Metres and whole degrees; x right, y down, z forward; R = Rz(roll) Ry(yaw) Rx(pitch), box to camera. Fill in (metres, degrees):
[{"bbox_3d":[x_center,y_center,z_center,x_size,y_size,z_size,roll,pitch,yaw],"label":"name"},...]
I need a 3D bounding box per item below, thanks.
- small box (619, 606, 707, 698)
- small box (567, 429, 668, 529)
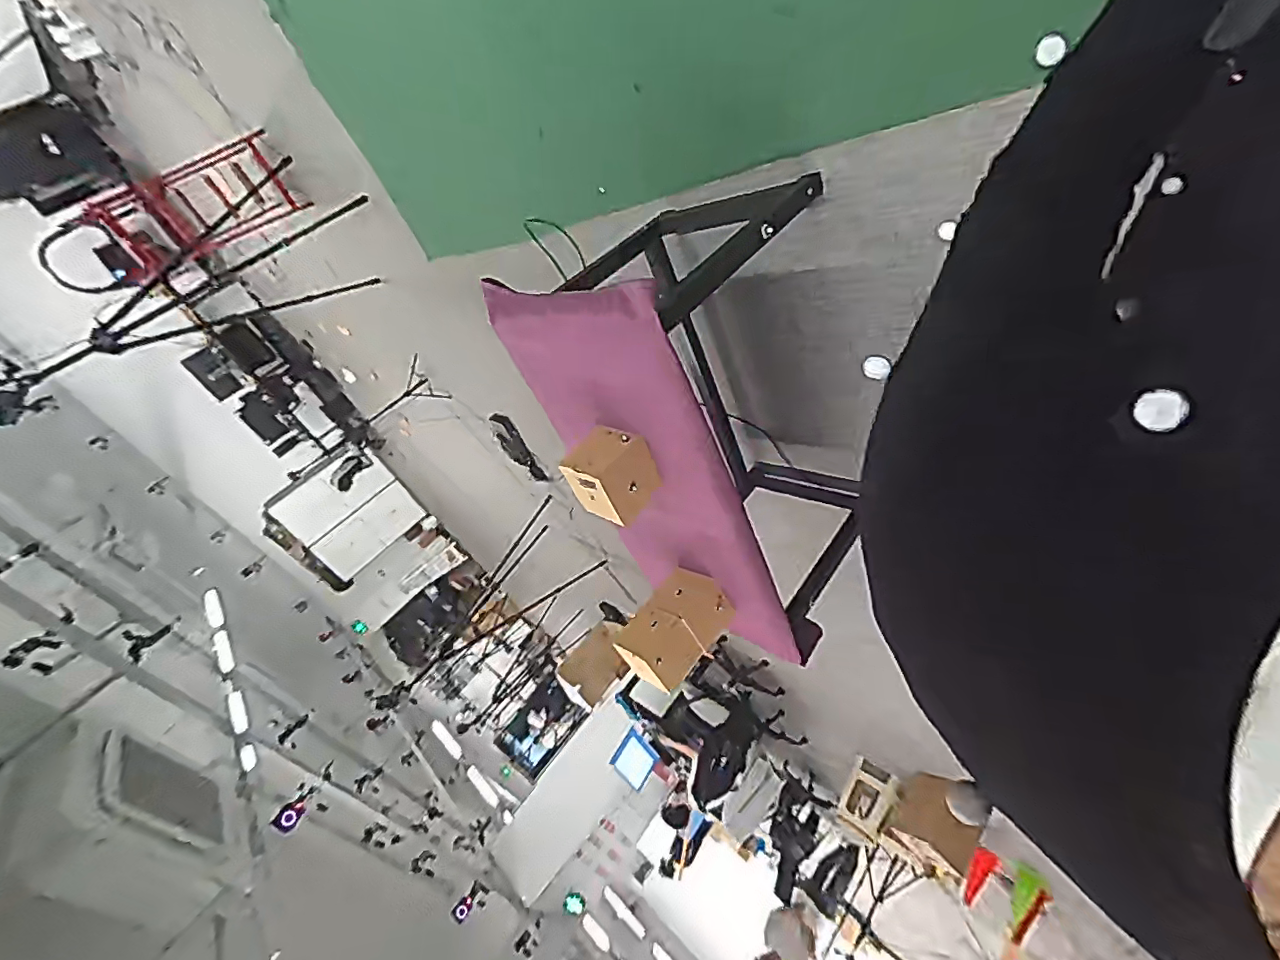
[{"bbox_3d":[0.075,0.521,1.653,0.168,0.176,0.179,7,136,53],"label":"small box"},{"bbox_3d":[-0.054,-0.009,1.415,0.168,0.176,0.179,24,148,42],"label":"small box"}]
